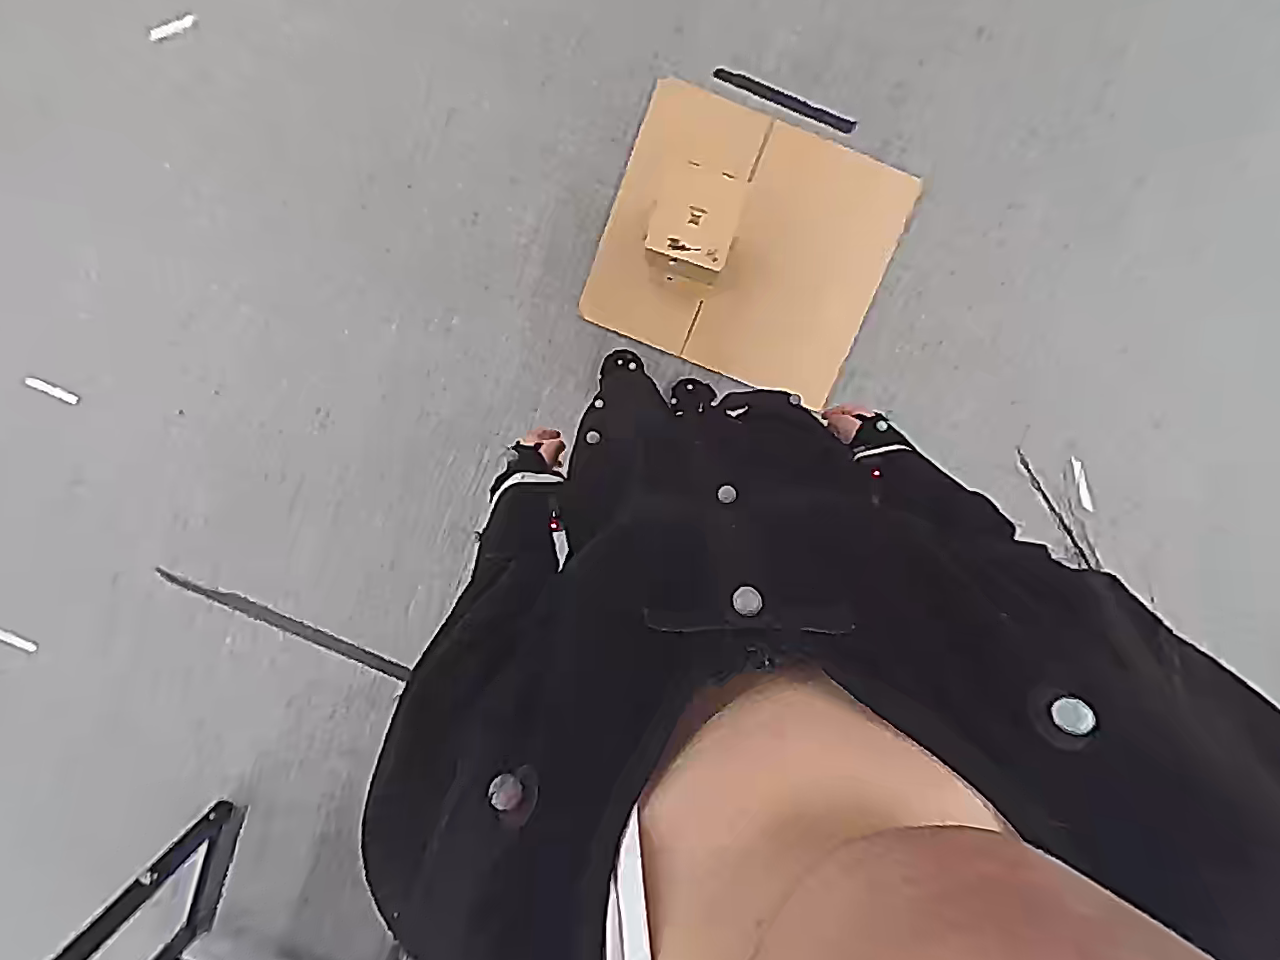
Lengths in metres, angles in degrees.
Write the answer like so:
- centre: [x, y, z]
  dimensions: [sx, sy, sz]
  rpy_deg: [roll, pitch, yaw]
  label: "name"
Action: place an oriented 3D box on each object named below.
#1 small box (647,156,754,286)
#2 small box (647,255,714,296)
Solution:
- centre: [0.119, -0.529, 1.129]
  dimensions: [0.168, 0.176, 0.179]
  rpy_deg: [19, 100, -1]
  label: "small box"
- centre: [0.125, -0.557, 1.291]
  dimensions: [0.168, 0.176, 0.179]
  rpy_deg: [20, 101, -1]
  label: "small box"
